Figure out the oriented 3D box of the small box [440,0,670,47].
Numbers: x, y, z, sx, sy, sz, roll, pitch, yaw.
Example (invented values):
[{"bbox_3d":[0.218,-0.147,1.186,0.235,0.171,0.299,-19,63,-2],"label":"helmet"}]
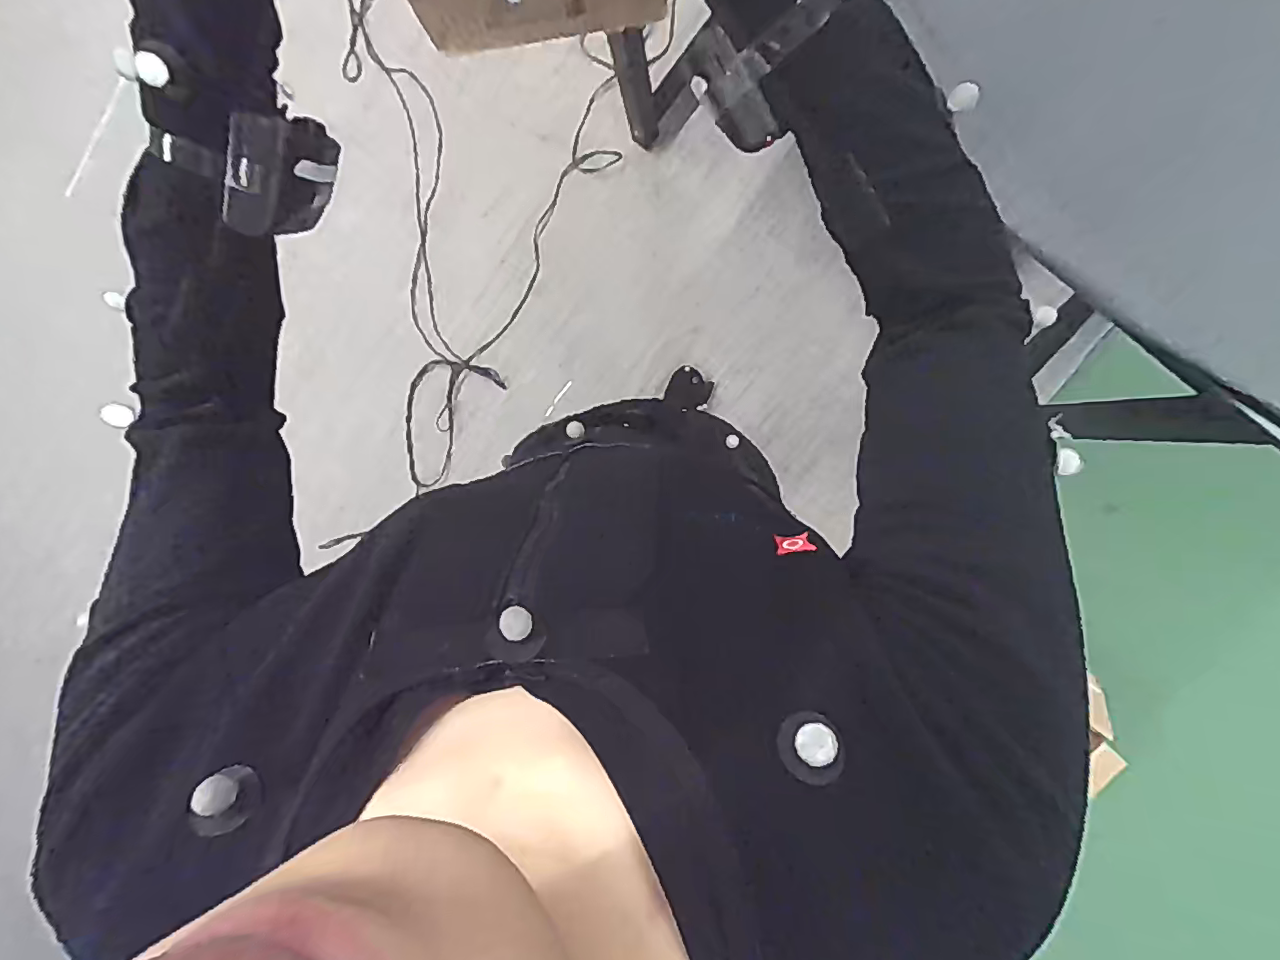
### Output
[{"bbox_3d":[-0.071,-0.401,0.304,0.168,0.176,0.179,-5,94,6],"label":"small box"}]
